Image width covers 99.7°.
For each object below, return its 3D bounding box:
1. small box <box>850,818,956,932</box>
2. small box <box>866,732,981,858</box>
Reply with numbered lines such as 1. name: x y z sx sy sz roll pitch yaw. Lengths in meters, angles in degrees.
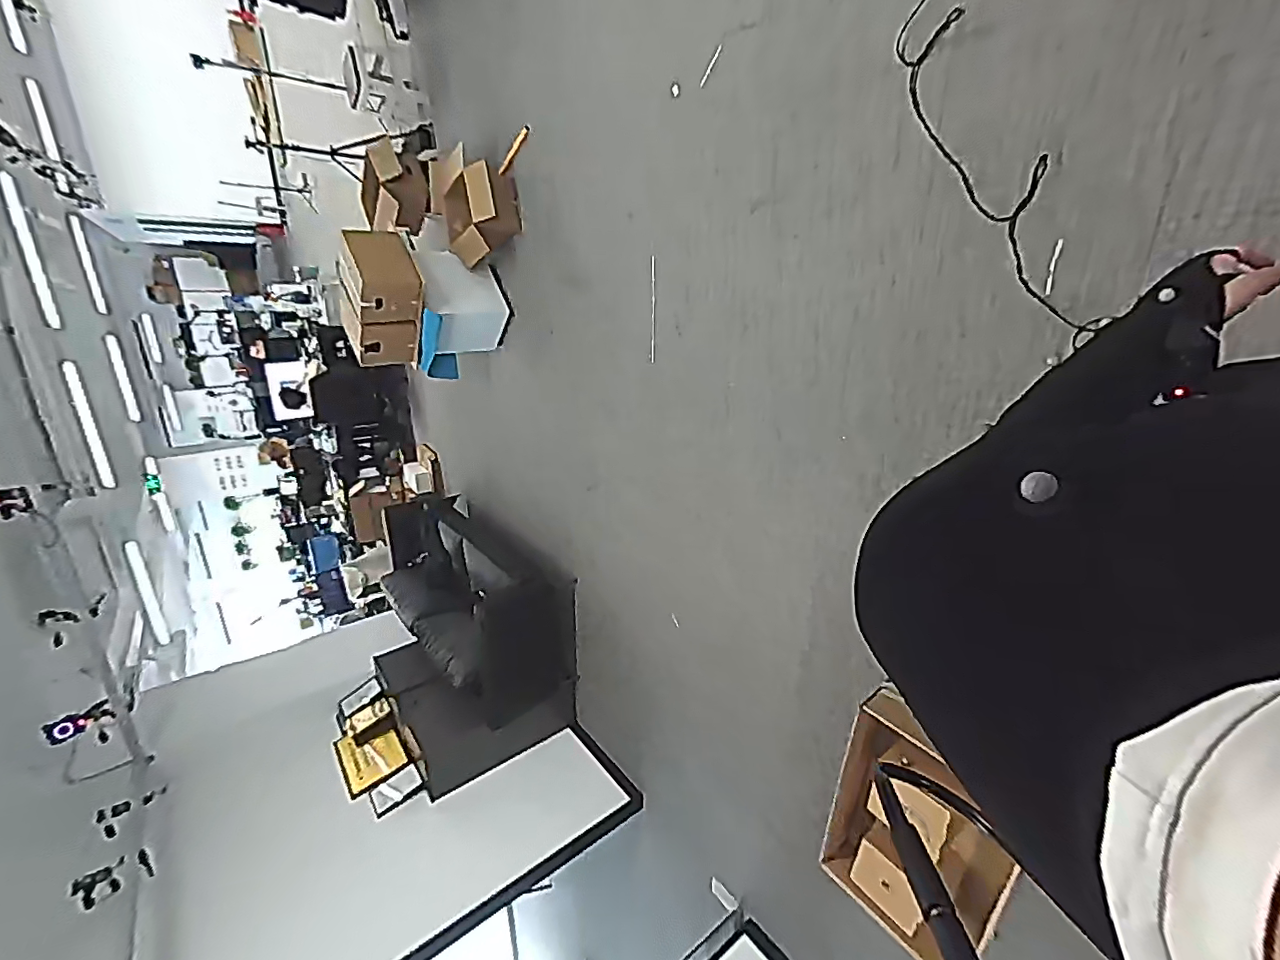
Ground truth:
1. small box: 0.685 0.998 1.405 0.179 0.176 0.168 30 124 45
2. small box: 0.685 0.747 1.311 0.179 0.176 0.168 24 121 46
